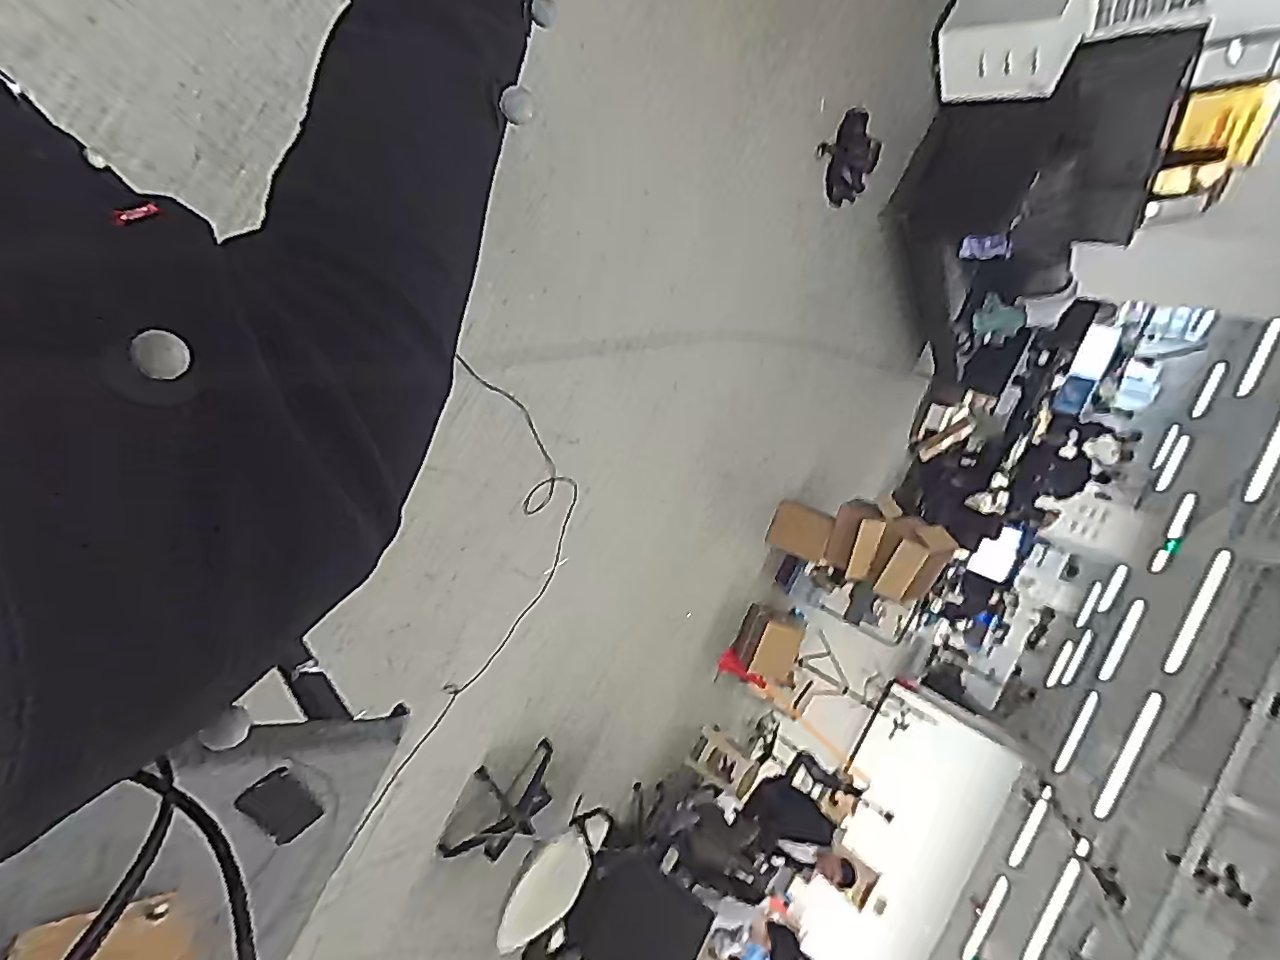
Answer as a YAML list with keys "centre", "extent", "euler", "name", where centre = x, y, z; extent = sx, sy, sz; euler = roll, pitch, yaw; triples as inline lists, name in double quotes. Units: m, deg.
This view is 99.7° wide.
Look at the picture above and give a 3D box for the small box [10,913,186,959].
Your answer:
- centre: [-0.711, 0.697, 0.680]
  extent: [0.168, 0.176, 0.179]
  euler: [32, 86, -53]
  name: "small box"
